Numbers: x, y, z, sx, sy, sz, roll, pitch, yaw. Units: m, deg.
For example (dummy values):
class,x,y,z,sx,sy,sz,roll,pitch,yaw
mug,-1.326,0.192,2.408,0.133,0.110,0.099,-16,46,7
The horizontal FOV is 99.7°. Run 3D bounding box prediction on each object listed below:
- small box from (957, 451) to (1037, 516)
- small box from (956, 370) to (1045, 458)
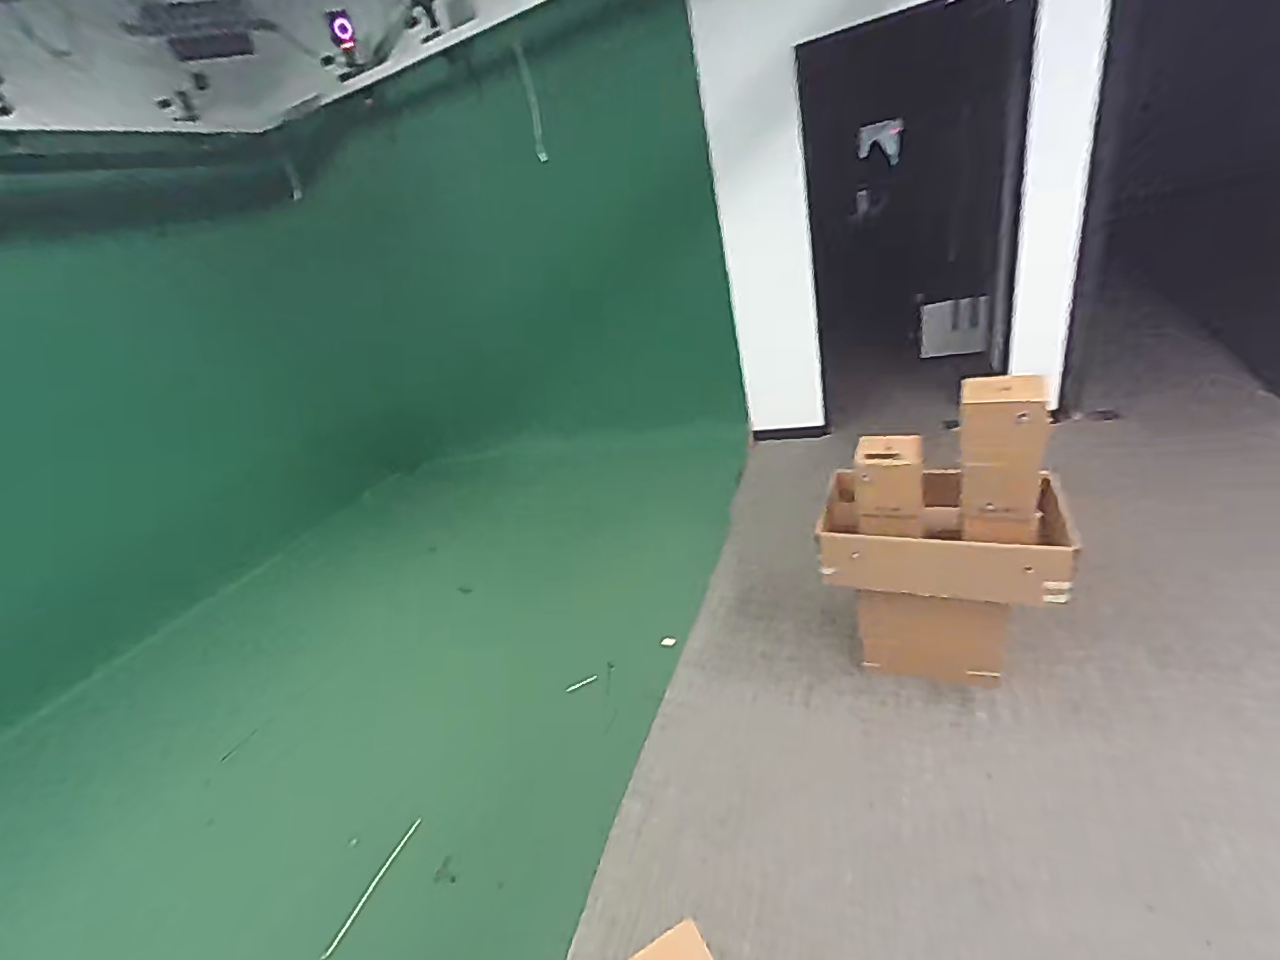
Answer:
class,x,y,z,sx,sy,sz,roll,pitch,yaw
small box,0.947,-0.025,1.444,0.168,0.176,0.179,1,32,31
small box,0.904,-0.164,1.366,0.179,0.176,0.168,1,31,33
